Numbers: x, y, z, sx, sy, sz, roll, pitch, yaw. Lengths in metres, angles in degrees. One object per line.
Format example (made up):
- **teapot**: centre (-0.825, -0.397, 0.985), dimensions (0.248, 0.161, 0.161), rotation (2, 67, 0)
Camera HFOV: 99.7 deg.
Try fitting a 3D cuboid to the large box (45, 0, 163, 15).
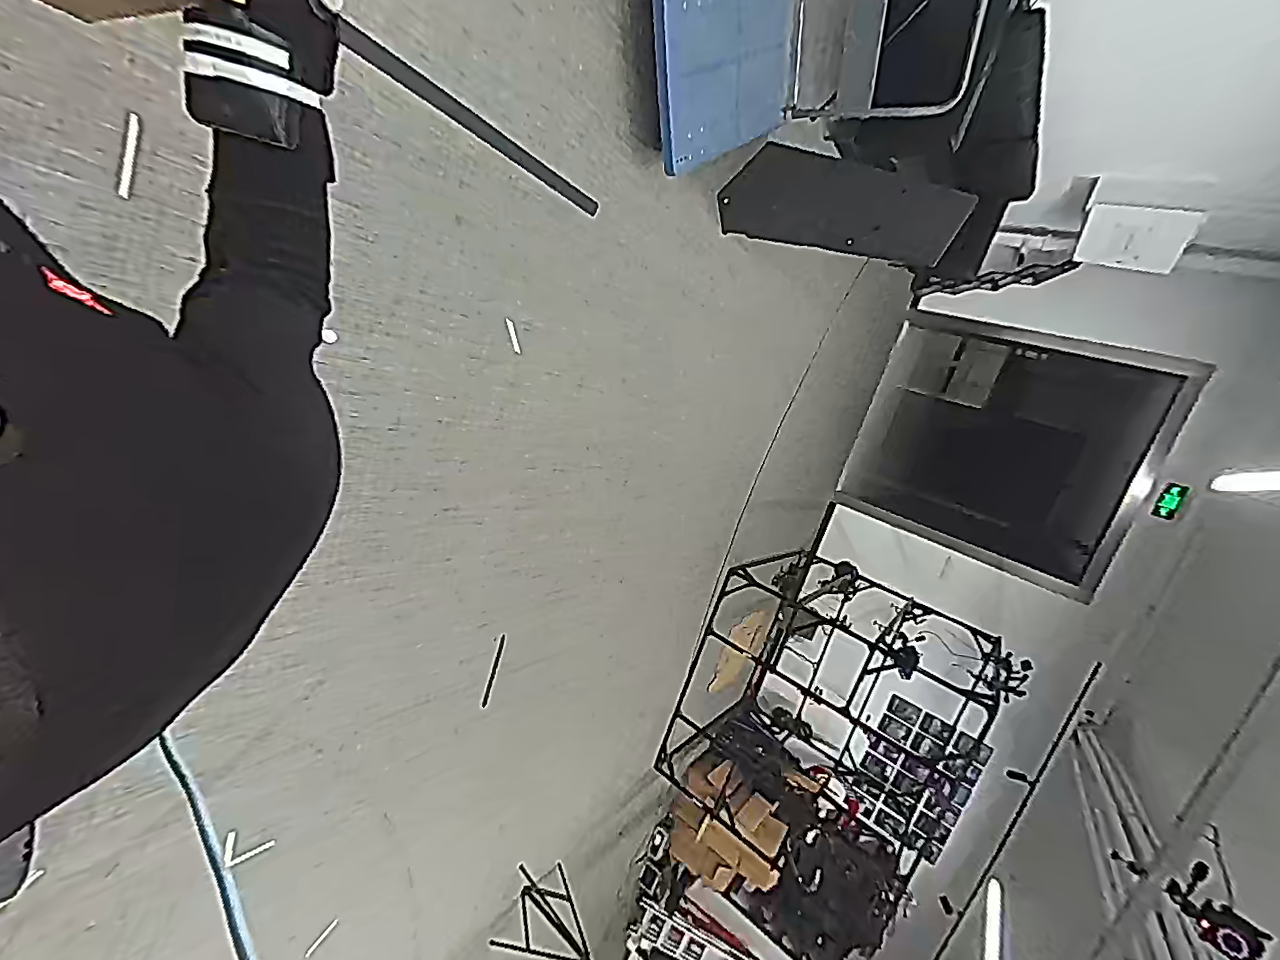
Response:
- **large box**: centre (-0.429, -0.477, 0.198), dimensions (0.408, 0.320, 0.320), rotation (-5, 116, -58)
